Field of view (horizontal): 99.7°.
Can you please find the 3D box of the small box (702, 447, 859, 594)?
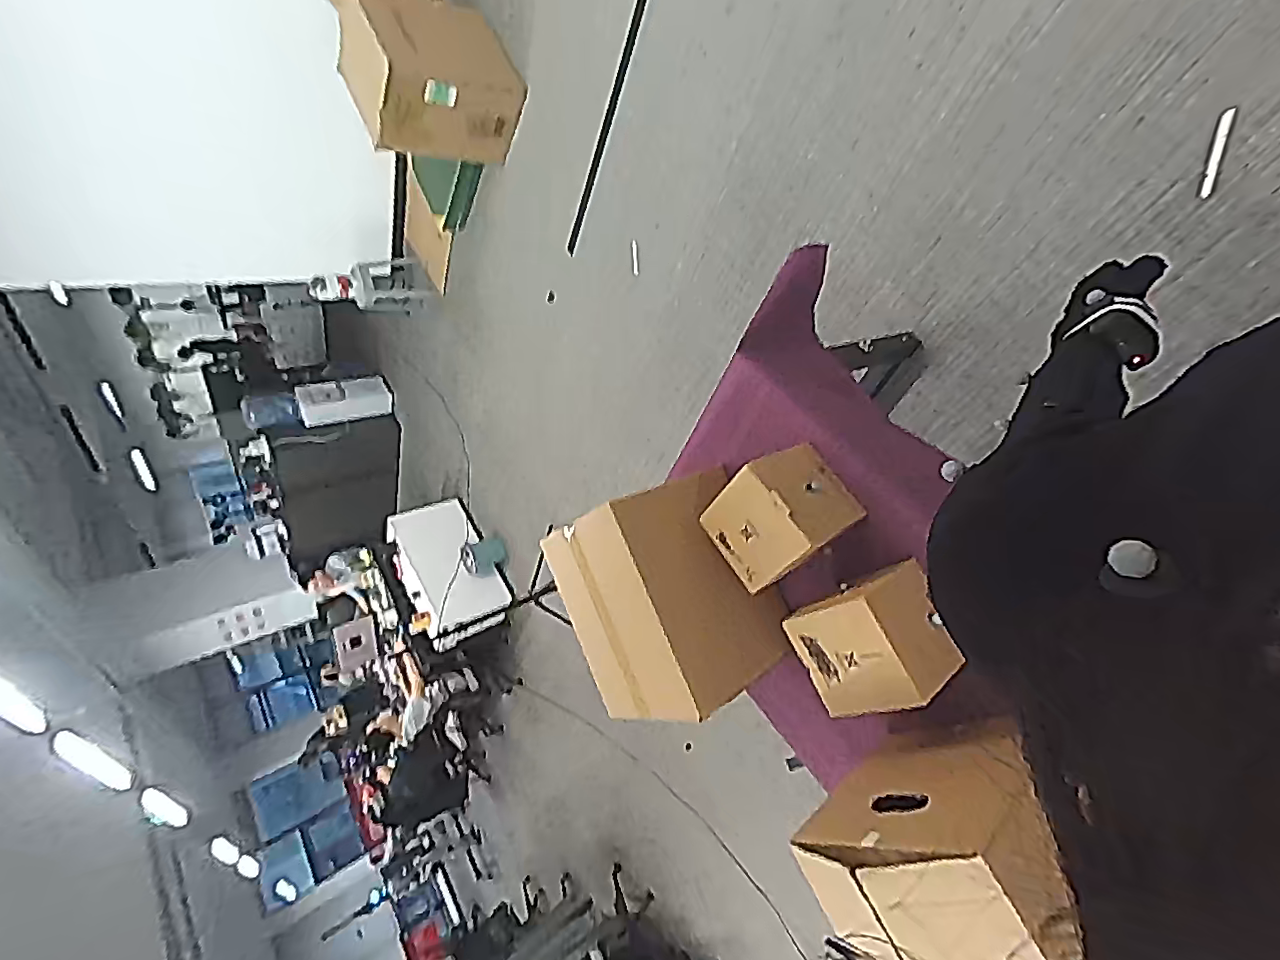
[{"bbox_3d":[0.246,0.064,0.936,0.168,0.176,0.179,56,141,22],"label":"small box"}]
